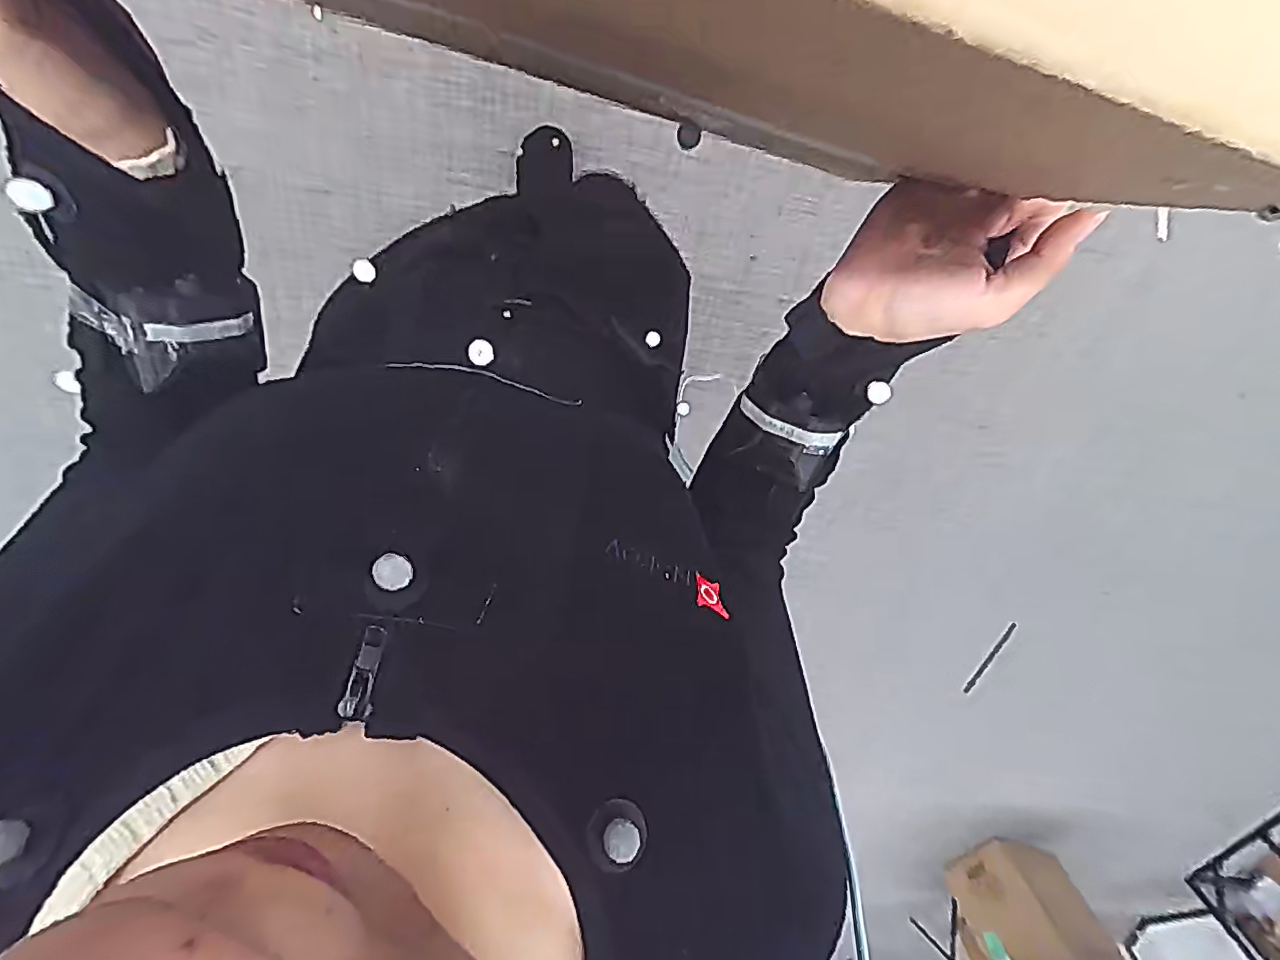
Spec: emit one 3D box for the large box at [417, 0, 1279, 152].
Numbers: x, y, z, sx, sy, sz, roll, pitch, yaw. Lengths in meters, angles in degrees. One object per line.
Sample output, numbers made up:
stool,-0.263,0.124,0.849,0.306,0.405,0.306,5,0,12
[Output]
large box,0.008,-0.314,0.131,0.408,0.320,0.320,9,121,-12
